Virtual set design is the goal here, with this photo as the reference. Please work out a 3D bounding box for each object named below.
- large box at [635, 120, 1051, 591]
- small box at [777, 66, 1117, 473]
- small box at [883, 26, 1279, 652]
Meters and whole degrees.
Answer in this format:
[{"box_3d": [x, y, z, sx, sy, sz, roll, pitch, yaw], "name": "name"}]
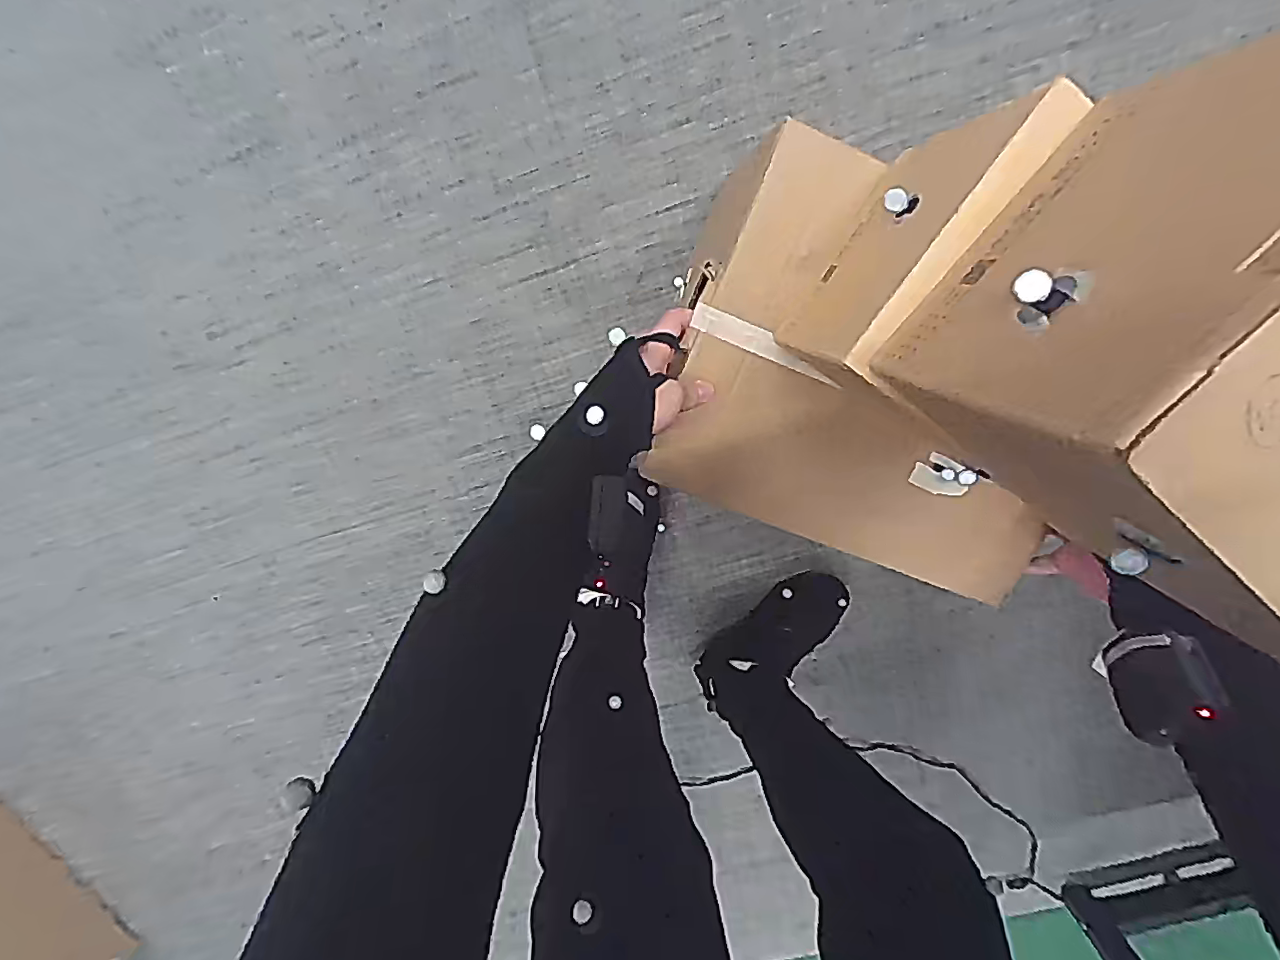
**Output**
[{"box_3d": [0.230, -0.131, 0.619, 0.408, 0.320, 0.320, 19, 110, -9], "name": "large box"}, {"box_3d": [0.222, -0.117, 0.367, 0.179, 0.176, 0.168, 29, 107, -13], "name": "small box"}, {"box_3d": [0.239, -0.050, 0.216, 0.179, 0.176, 0.168, 36, 106, -14], "name": "small box"}]
